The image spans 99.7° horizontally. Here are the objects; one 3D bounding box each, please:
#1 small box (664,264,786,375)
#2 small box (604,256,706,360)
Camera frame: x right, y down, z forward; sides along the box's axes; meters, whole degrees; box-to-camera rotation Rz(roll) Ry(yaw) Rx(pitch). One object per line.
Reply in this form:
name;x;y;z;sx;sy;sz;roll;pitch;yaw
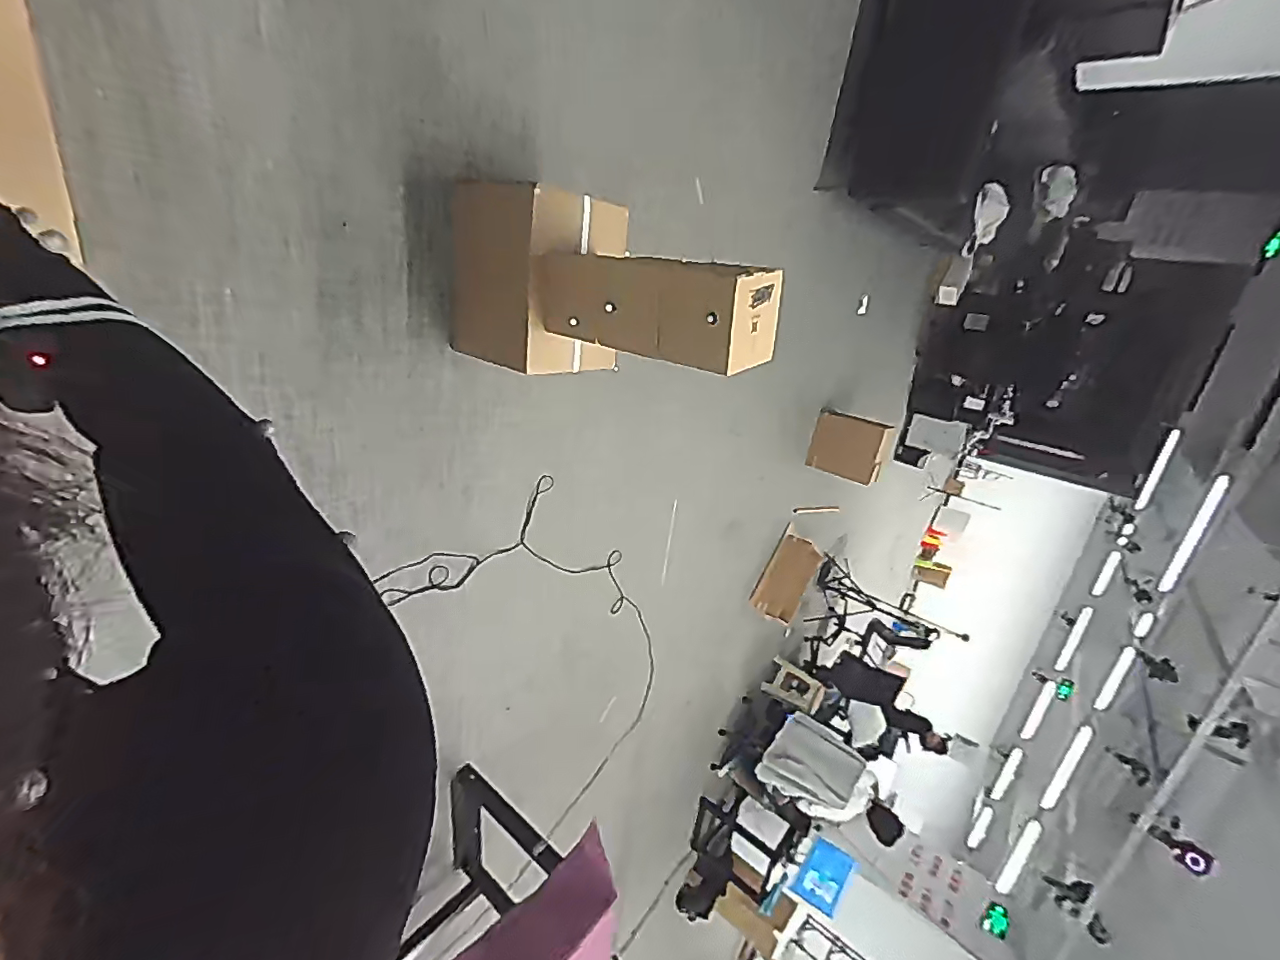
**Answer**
small box;0.161;-0.320;1.052;0.168;0.176;0.179;-27;129;-41
small box;0.037;-0.372;1.149;0.168;0.176;0.179;-27;129;-42
